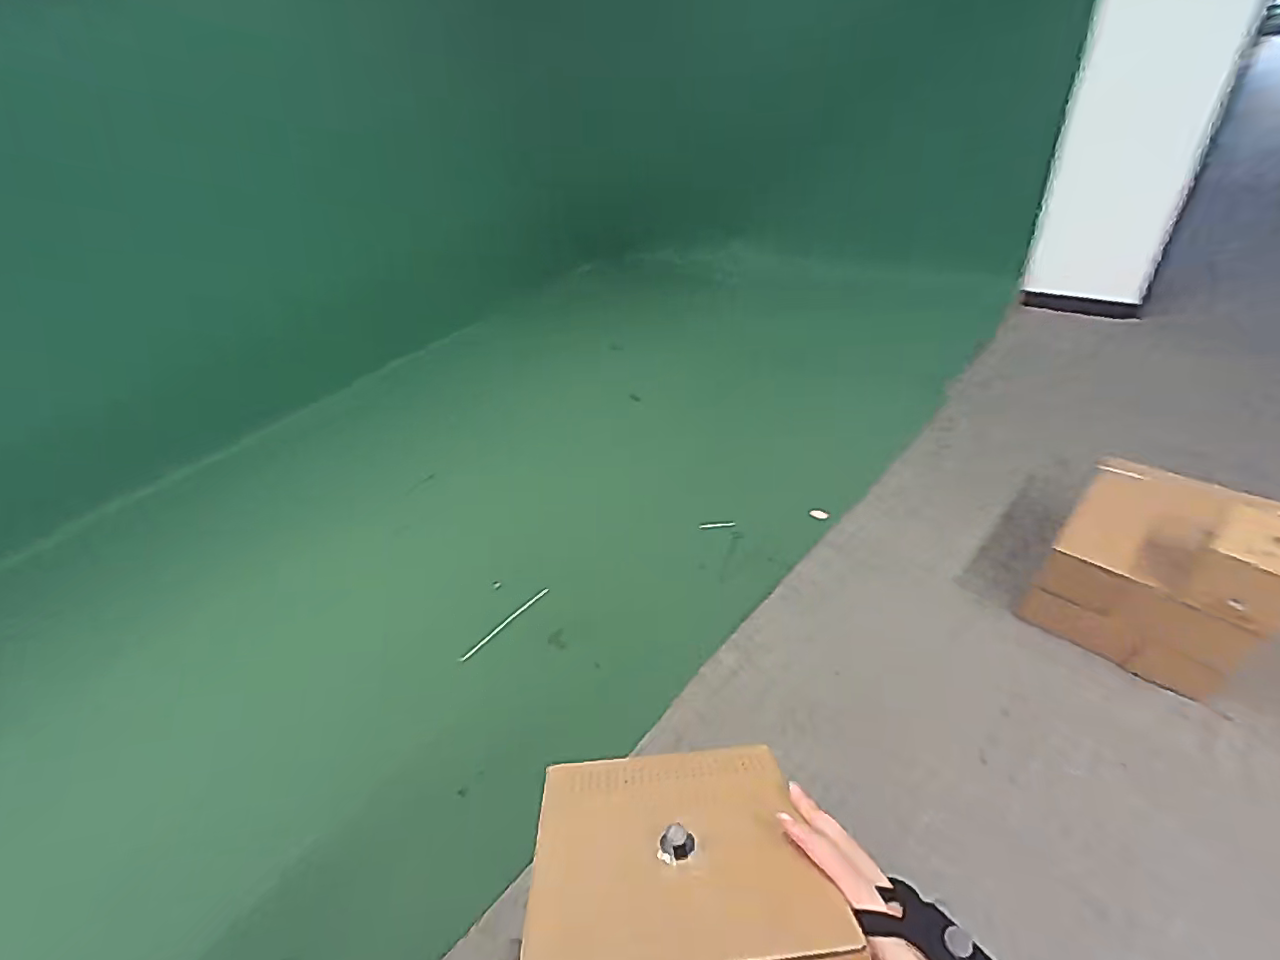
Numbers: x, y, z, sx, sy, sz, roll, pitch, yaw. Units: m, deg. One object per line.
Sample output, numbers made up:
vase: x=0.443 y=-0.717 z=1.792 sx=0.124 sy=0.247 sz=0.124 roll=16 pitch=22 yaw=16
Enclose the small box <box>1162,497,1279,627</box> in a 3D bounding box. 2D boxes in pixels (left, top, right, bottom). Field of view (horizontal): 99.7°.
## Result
small box: x=1.277 y=0.175 z=1.161 sx=0.179 sy=0.176 sz=0.168 roll=-37 pitch=46 yaw=-26
